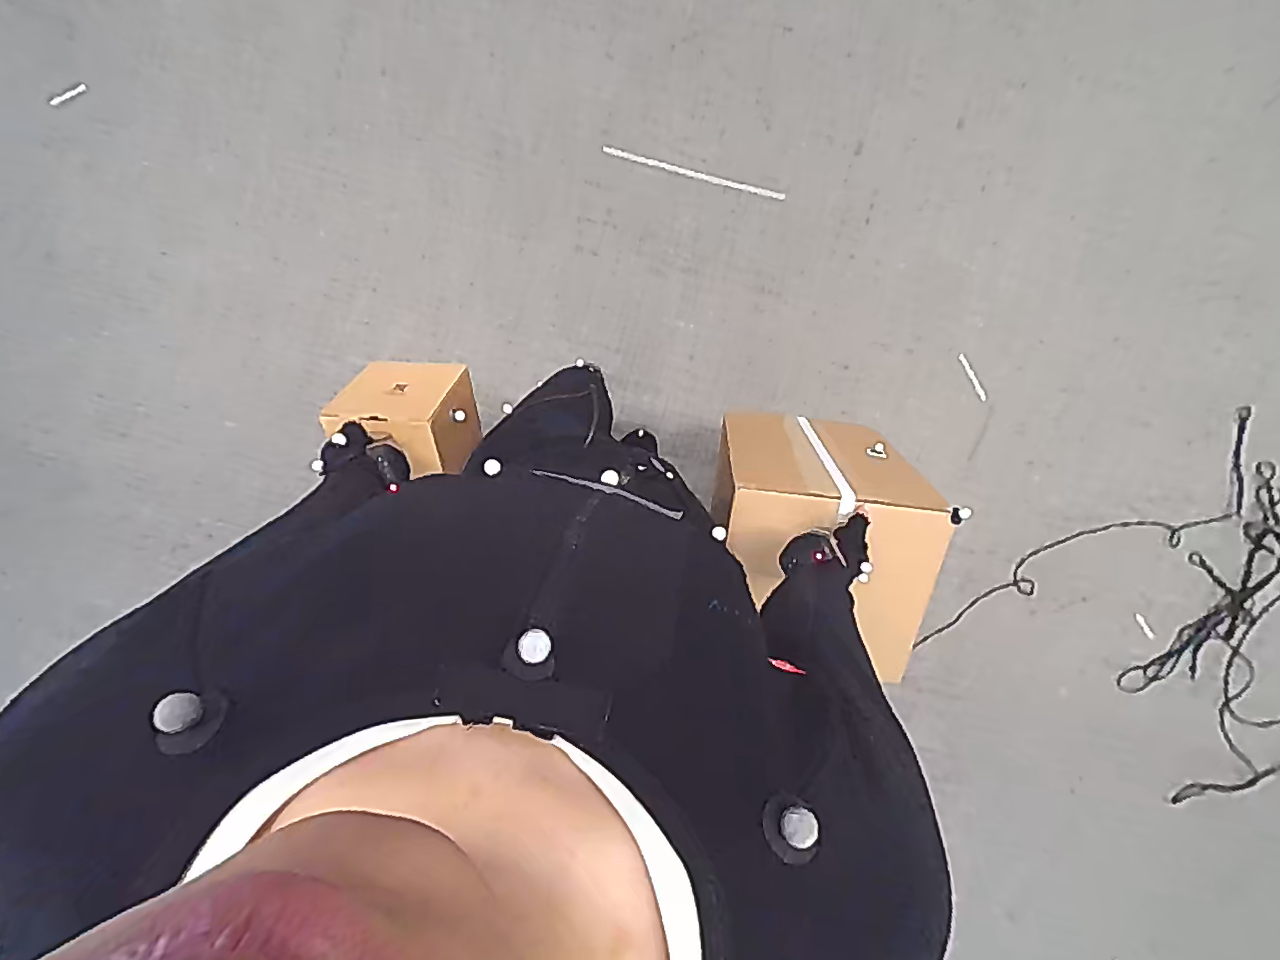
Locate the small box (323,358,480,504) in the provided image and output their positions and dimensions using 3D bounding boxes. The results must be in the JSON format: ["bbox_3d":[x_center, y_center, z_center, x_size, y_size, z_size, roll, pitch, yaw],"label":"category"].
[{"bbox_3d":[-0.376,-0.084,0.896,0.168,0.179,0.176,3,131,3],"label":"small box"}]
